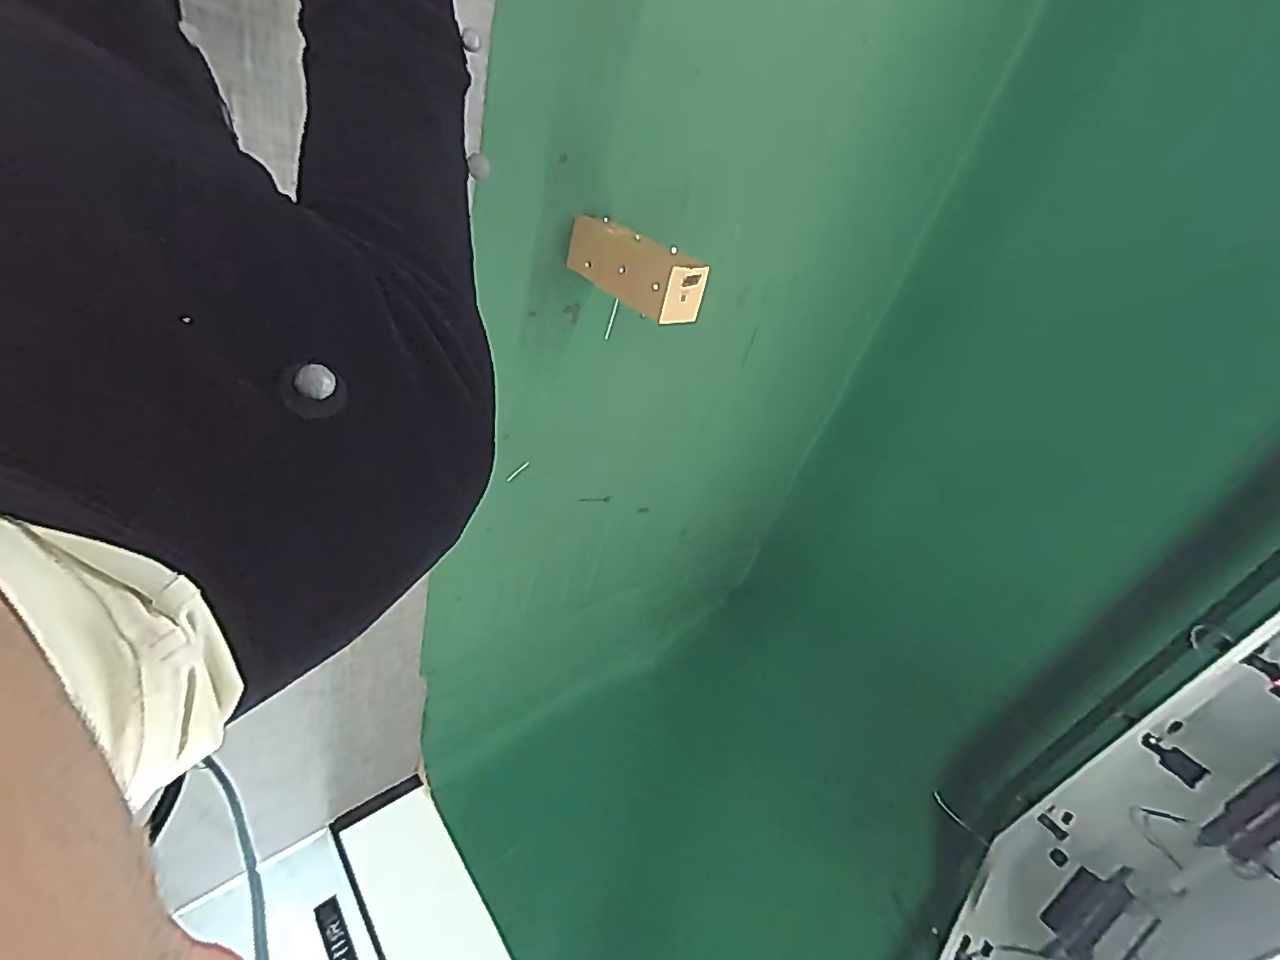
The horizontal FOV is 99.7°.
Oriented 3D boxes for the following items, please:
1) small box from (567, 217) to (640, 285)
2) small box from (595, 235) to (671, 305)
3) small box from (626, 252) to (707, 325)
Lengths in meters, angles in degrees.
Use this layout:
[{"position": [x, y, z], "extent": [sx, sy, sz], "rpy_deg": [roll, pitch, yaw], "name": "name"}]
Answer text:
[{"position": [-0.133, -0.787, 1.873], "extent": [0.168, 0.176, 0.179], "rpy_deg": [-13, 133, -43], "name": "small box"}, {"position": [-0.029, -0.692, 1.792], "extent": [0.168, 0.176, 0.179], "rpy_deg": [-16, 133, -41], "name": "small box"}, {"position": [0.078, -0.606, 1.702], "extent": [0.168, 0.176, 0.179], "rpy_deg": [-17, 136, -39], "name": "small box"}]
